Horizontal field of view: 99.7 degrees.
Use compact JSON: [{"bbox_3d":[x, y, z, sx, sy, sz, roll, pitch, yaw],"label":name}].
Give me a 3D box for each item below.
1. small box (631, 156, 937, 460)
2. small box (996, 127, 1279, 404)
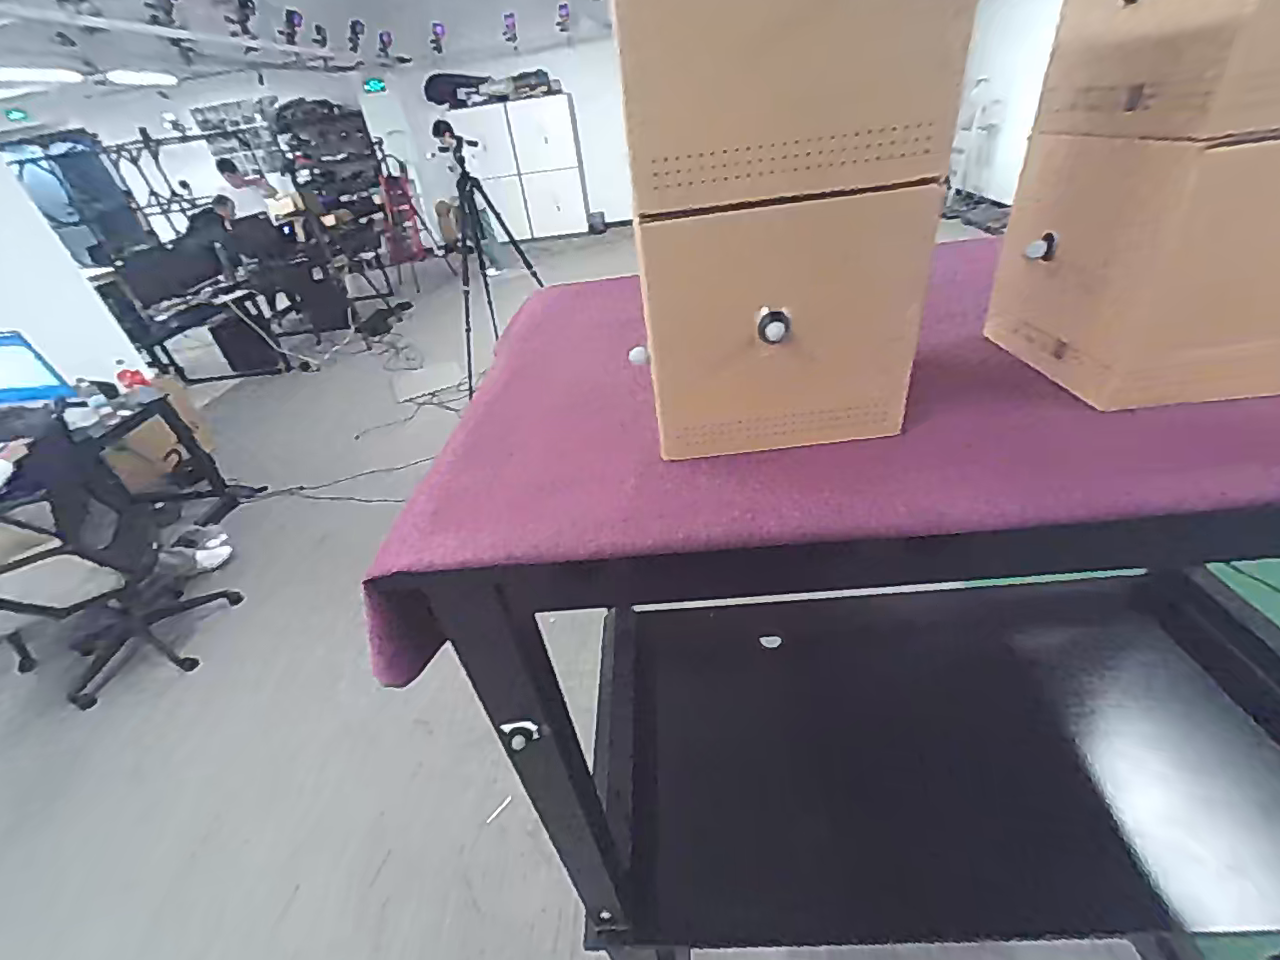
[{"bbox_3d":[0.090,-0.133,0.415,0.179,0.176,0.168,-7,34,3],"label":"small box"},{"bbox_3d":[0.396,-0.165,0.397,0.179,0.176,0.168,-5,34,4],"label":"small box"}]
